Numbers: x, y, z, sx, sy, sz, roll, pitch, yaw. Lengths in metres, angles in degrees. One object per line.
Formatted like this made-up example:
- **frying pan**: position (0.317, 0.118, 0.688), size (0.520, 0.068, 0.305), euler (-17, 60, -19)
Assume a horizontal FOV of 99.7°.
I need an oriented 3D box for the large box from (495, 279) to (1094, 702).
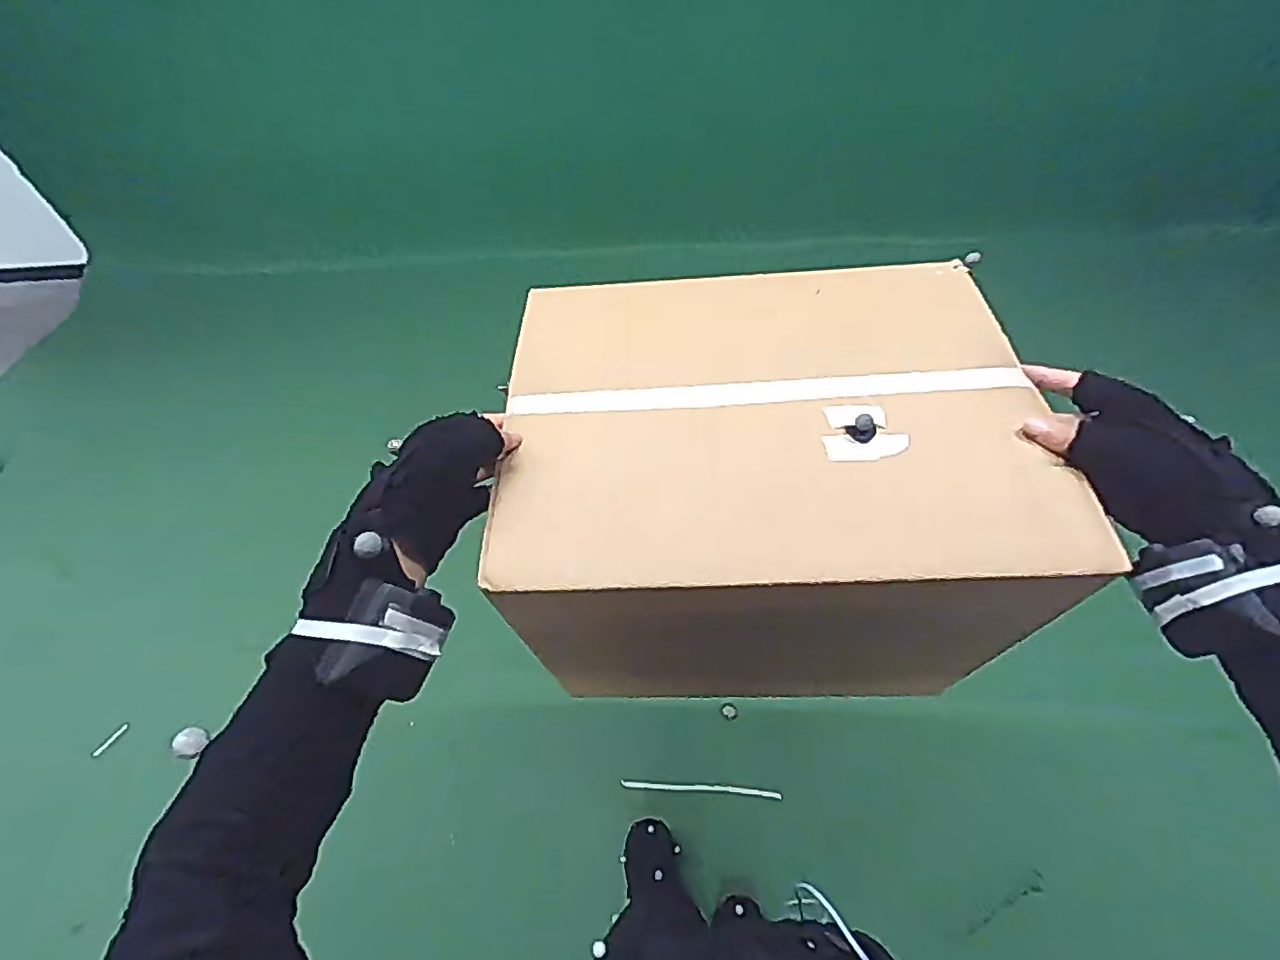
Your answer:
- **large box**: position (0.105, 0.030, 0.563), size (0.408, 0.320, 0.320), euler (-3, 56, 4)
